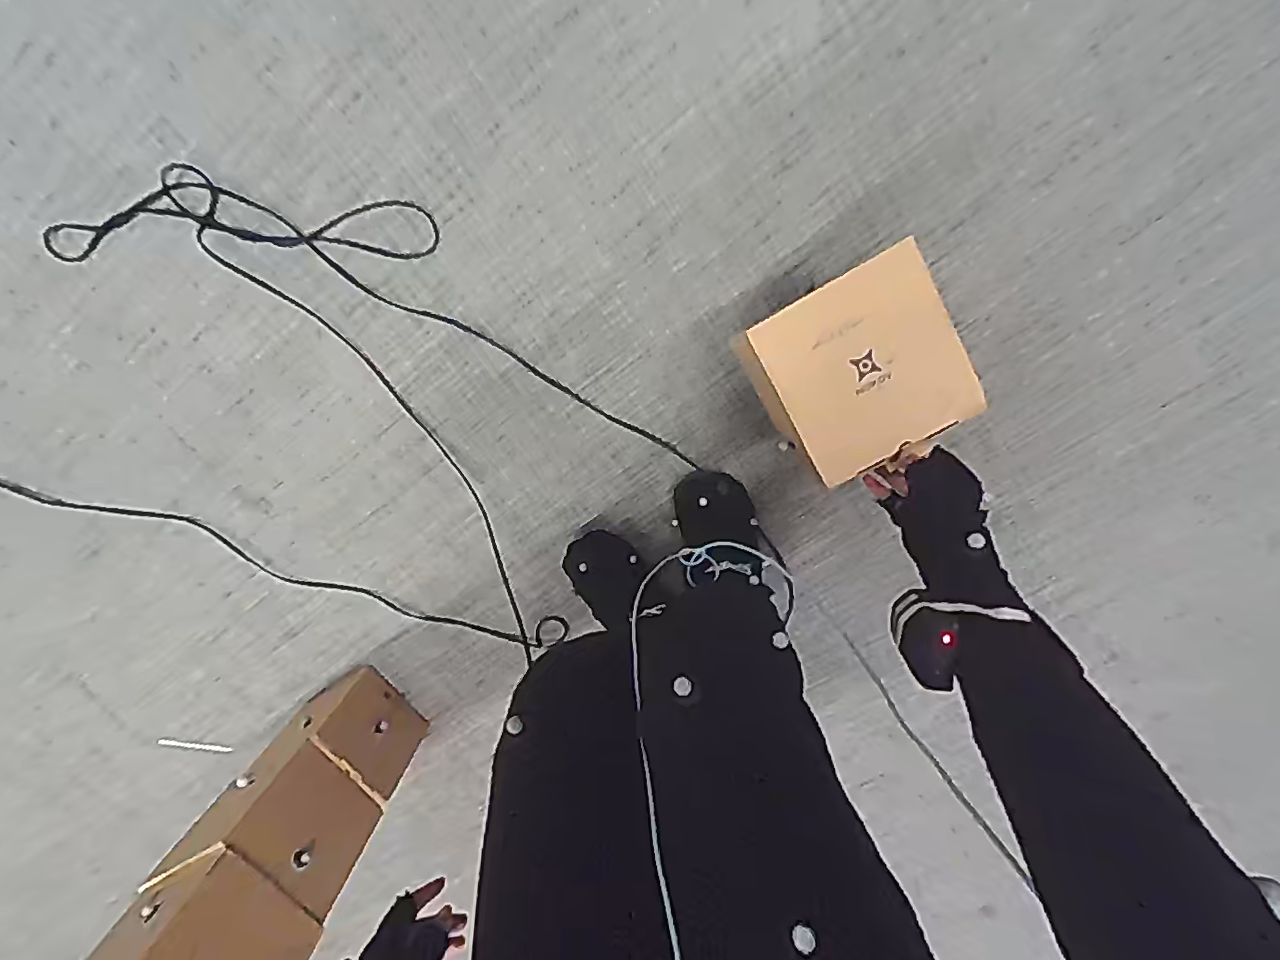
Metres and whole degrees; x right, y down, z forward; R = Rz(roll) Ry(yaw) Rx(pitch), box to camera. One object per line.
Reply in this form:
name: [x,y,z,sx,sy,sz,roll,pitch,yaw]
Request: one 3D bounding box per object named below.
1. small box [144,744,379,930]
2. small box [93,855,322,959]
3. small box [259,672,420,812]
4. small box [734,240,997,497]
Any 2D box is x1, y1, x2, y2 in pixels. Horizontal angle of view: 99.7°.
small box: [-0.516,0.522,0.768,0.168,0.176,0.179,-32,104,12]
small box: [-0.516,0.581,0.617,0.168,0.176,0.179,-32,104,12]
small box: [-0.505,0.465,0.923,0.179,0.176,0.168,-33,104,12]
small box: [0.212,-0.110,0.556,0.168,0.176,0.179,-29,98,9]
